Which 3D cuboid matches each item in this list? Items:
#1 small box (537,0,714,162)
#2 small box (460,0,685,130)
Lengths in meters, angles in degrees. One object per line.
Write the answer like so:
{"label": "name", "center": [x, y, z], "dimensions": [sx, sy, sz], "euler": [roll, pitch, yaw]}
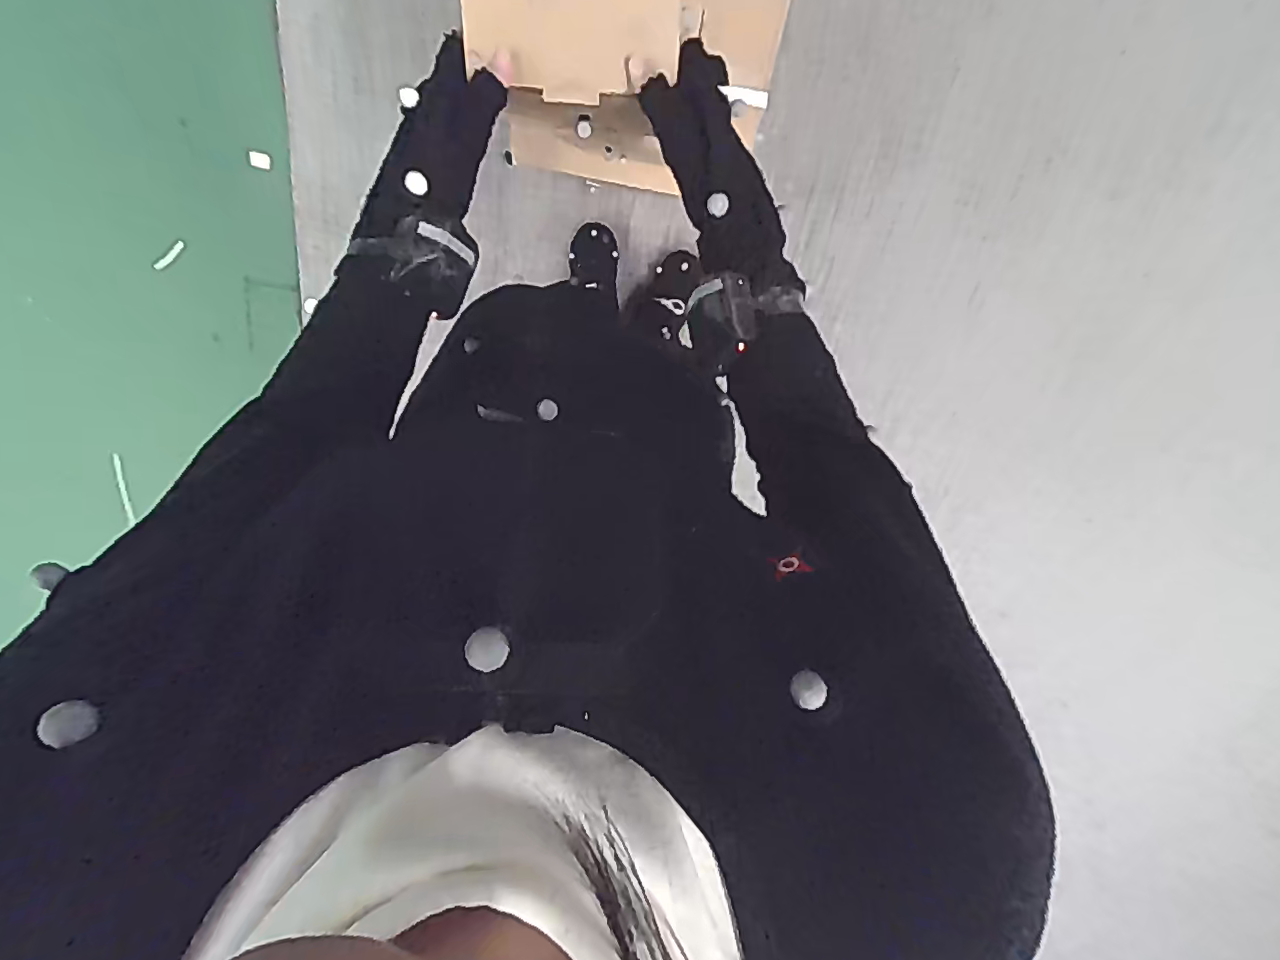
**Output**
{"label": "small box", "center": [-0.011, -0.495, 0.655], "dimensions": [0.179, 0.176, 0.168], "euler": [12, 118, 4]}
{"label": "small box", "center": [-0.046, -0.409, 0.456], "dimensions": [0.168, 0.176, 0.179], "euler": [2, 115, 2]}
